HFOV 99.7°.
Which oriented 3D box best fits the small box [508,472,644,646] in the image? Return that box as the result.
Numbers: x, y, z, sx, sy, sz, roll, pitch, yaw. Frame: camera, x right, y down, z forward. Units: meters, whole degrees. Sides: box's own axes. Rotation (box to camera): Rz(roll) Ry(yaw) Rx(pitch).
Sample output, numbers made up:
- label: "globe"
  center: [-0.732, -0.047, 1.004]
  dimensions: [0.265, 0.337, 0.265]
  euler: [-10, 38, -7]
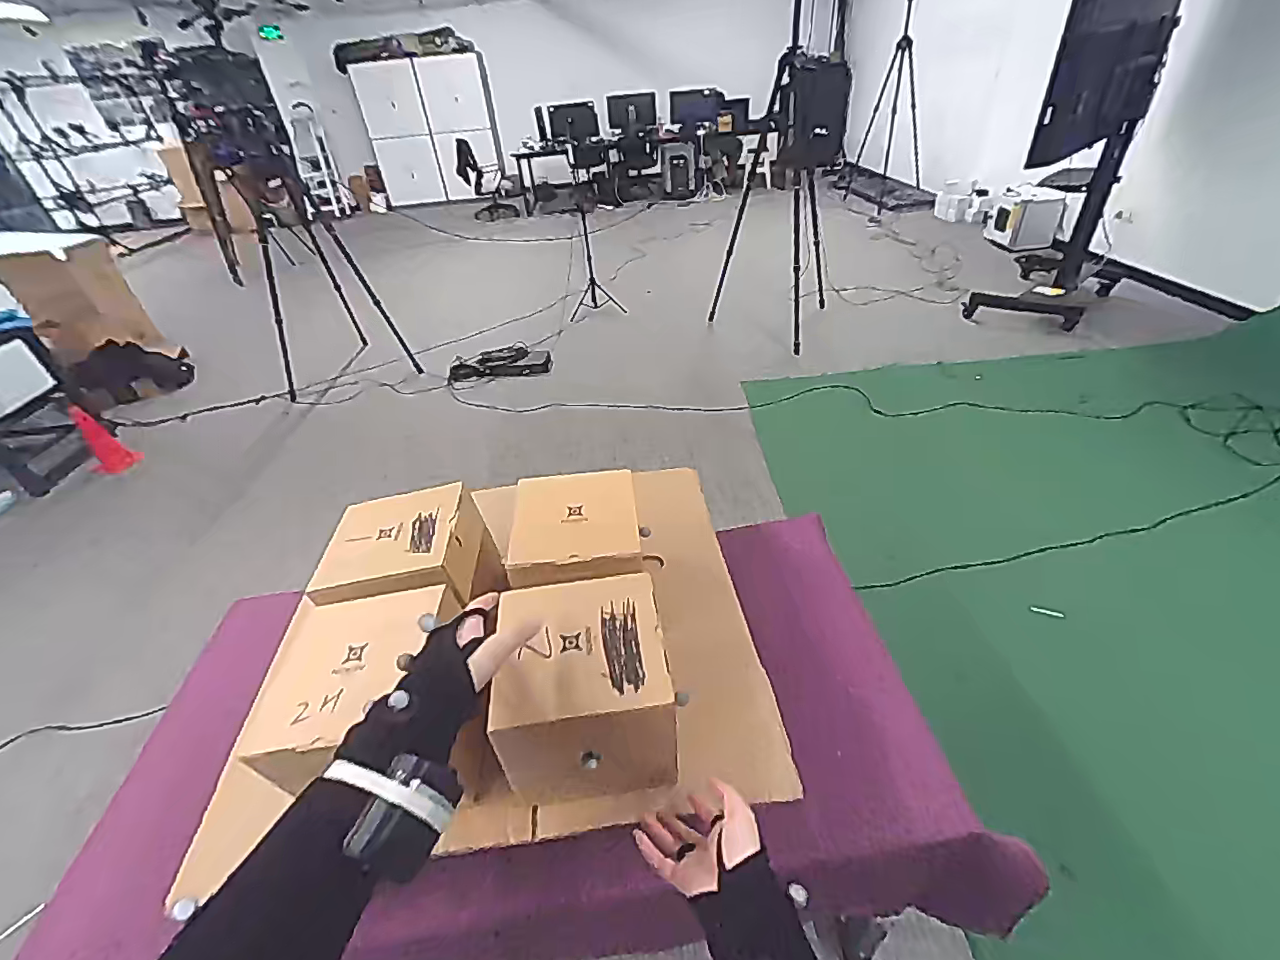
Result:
- label: "small box"
  center: [-0.084, 0.110, 0.773]
  dimensions: [0.168, 0.176, 0.179]
  euler: [-5, 39, -2]
